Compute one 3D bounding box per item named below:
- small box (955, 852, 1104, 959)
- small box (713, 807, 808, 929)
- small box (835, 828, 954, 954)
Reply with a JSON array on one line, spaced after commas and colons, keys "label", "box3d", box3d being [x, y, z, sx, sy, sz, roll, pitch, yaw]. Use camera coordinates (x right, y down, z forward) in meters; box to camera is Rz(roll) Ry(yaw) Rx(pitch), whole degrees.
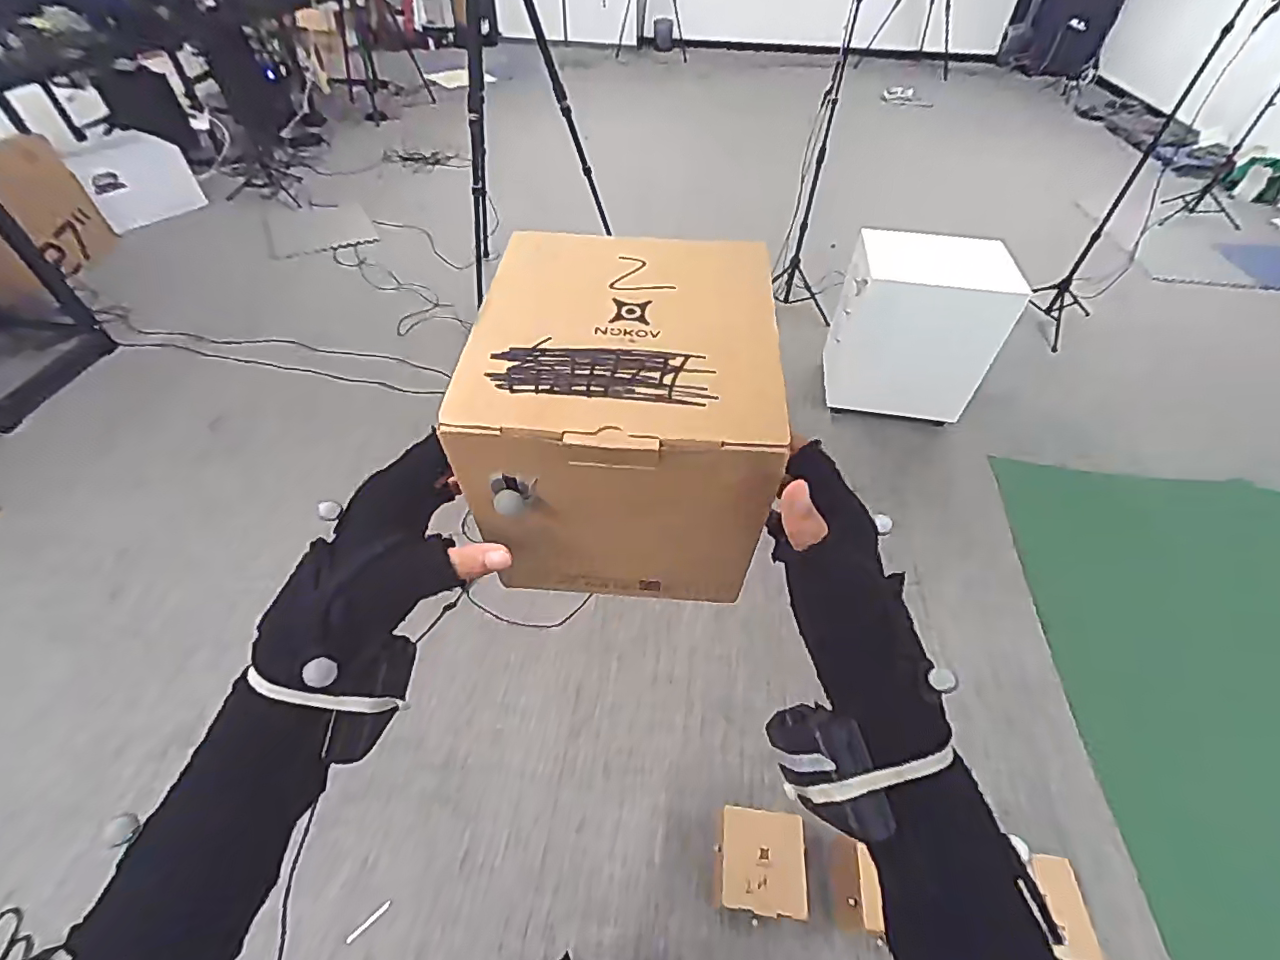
[{"label": "small box", "box3d": [0.778, 0.883, 1.099, 0.168, 0.176, 0.179, 6, 48, 3]}, {"label": "small box", "box3d": [0.246, 0.818, 1.138, 0.168, 0.176, 0.179, 6, 49, 5]}, {"label": "small box", "box3d": [0.512, 0.851, 1.120, 0.168, 0.176, 0.179, 8, 49, 5]}]
